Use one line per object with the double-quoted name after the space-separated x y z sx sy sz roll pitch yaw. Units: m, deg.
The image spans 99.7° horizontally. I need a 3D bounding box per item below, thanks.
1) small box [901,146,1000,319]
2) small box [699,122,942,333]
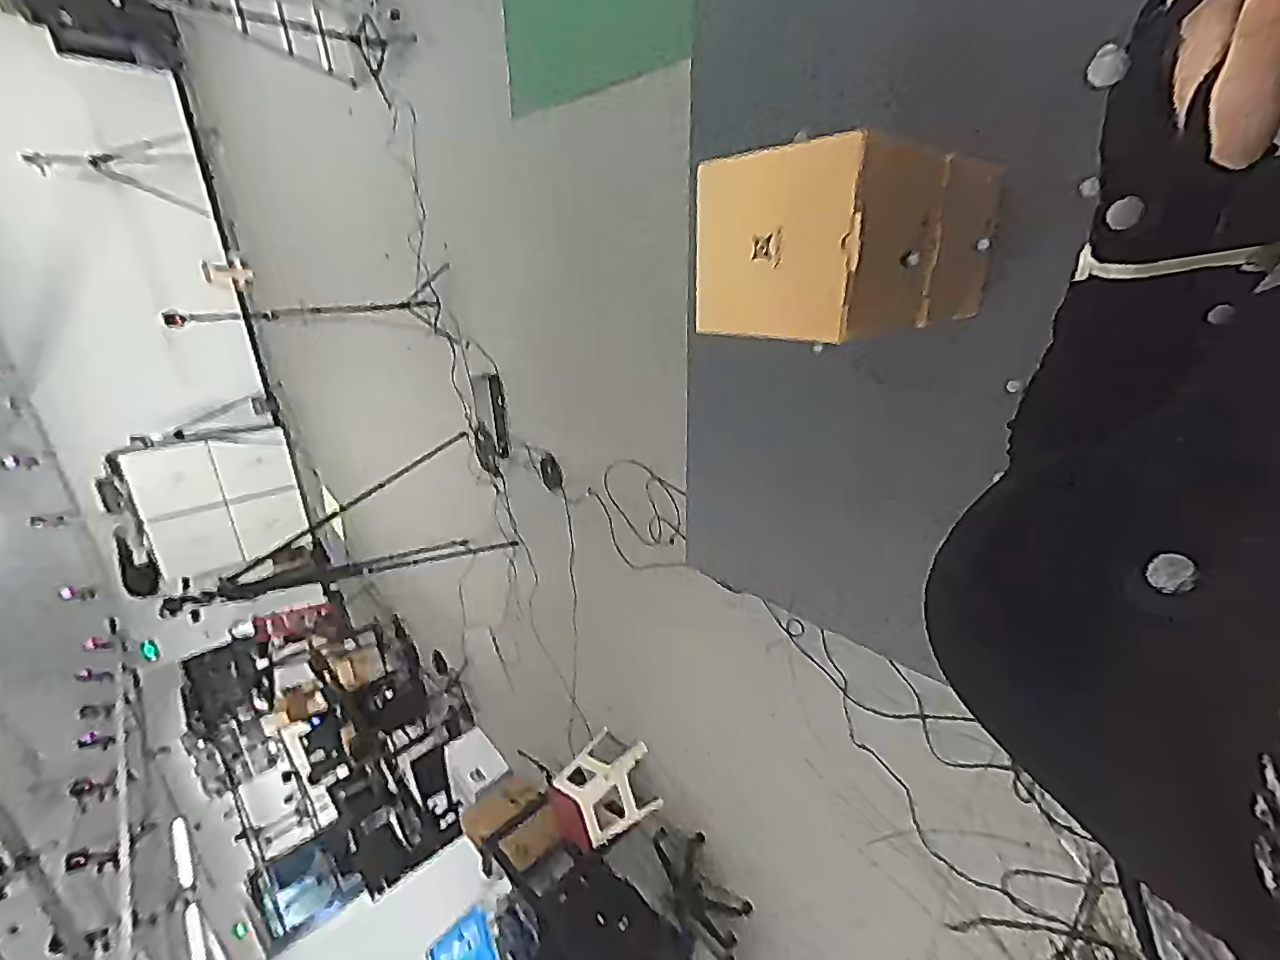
0.302 -0.291 0.659 0.179 0.176 0.168 19 121 44 "small box"
0.181 -0.247 0.561 0.179 0.176 0.168 18 119 44 "small box"
